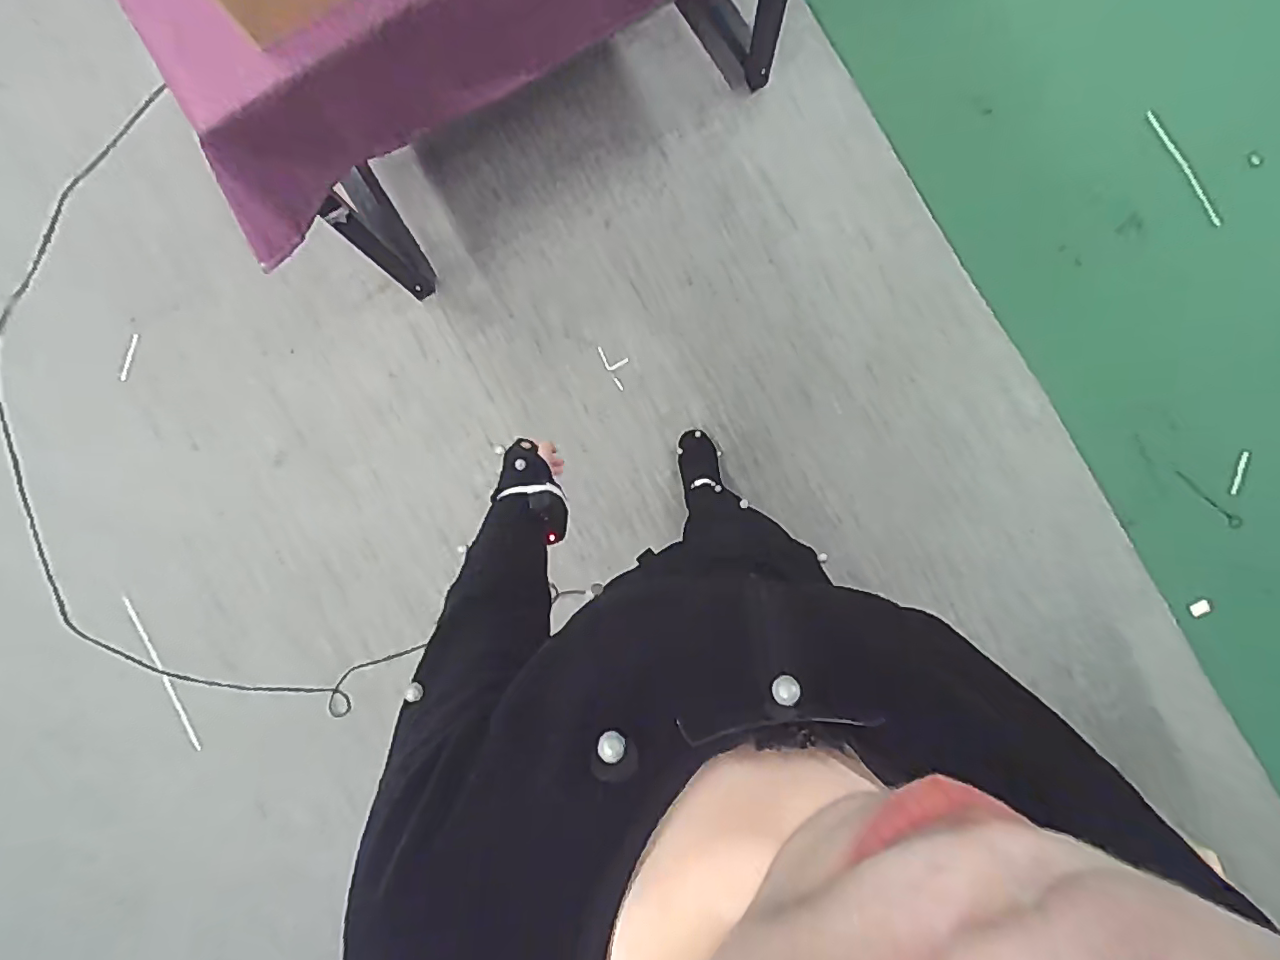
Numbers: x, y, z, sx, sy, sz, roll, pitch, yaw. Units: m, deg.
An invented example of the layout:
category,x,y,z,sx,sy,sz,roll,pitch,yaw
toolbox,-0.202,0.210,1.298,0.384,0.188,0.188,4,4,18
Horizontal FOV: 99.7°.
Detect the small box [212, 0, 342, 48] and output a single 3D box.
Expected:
category,x,y,z,sx,sy,sz,roll,pitch,yaw
small box,-0.553,-0.765,0.750,0.179,0.176,0.168,-31,86,-1
